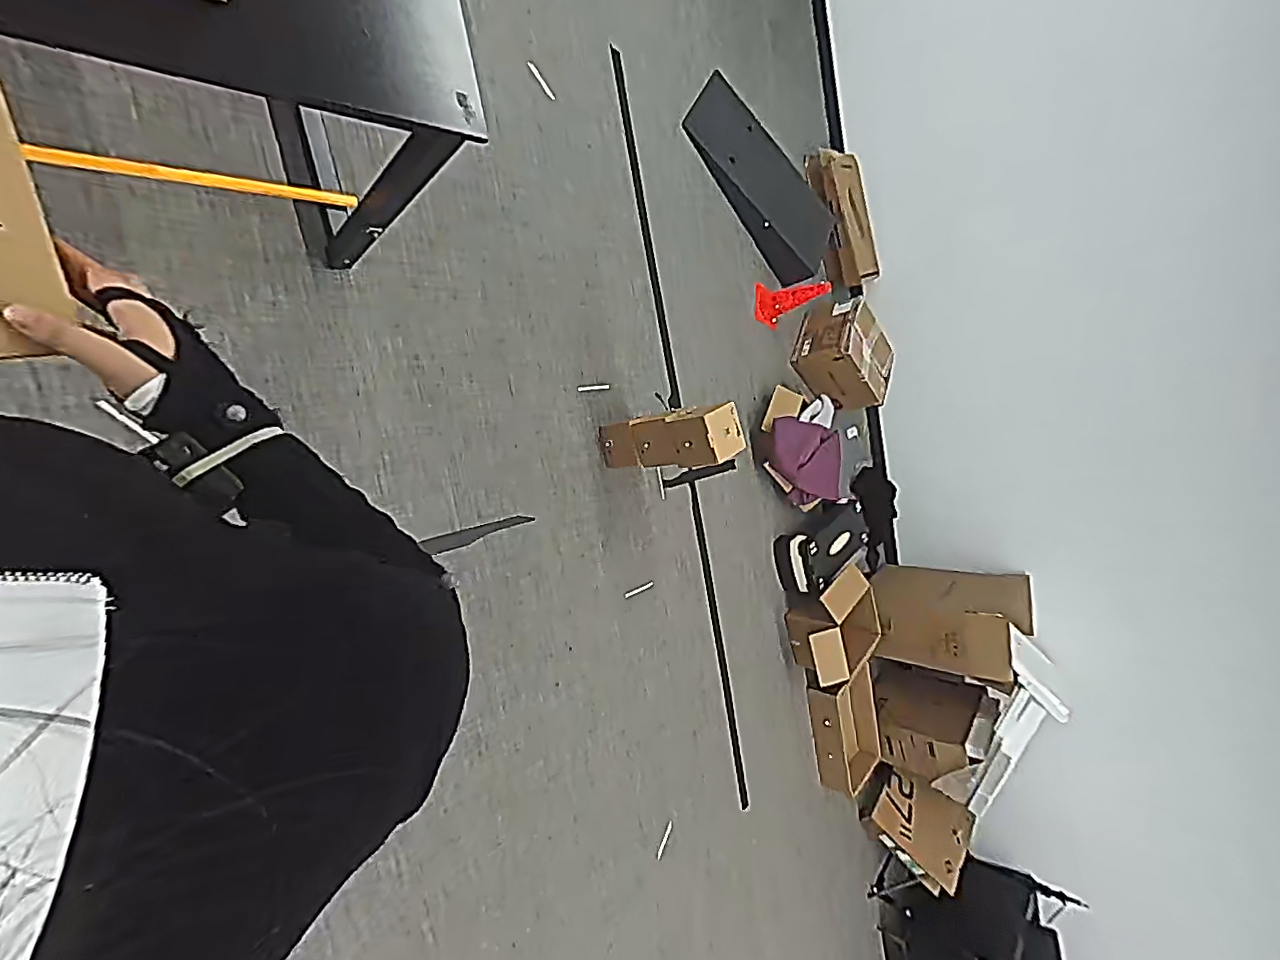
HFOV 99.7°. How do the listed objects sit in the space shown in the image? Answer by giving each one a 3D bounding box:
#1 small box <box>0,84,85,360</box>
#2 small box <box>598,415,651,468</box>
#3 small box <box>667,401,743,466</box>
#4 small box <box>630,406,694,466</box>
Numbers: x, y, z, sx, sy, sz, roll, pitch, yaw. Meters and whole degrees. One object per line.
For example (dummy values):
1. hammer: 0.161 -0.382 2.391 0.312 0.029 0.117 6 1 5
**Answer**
1. small box: -0.502 -0.157 0.340 0.179 0.176 0.168 -21 115 -47
2. small box: -0.029 -0.146 2.021 0.179 0.176 0.168 -20 100 -42
3. small box: 0.210 -0.151 1.794 0.179 0.176 0.168 -29 106 -41
4. small box: 0.096 -0.155 1.912 0.179 0.176 0.168 -27 104 -42
